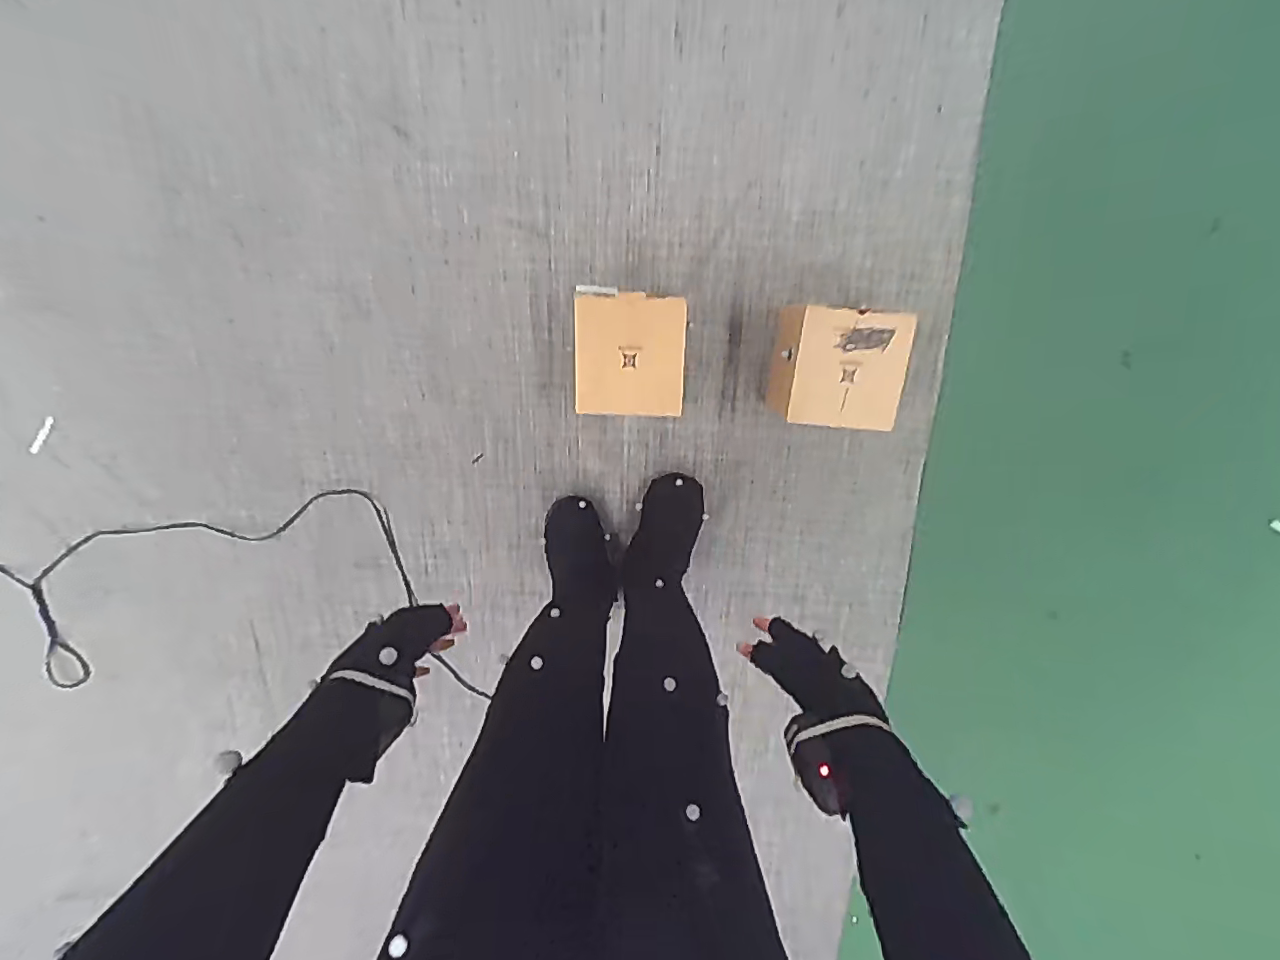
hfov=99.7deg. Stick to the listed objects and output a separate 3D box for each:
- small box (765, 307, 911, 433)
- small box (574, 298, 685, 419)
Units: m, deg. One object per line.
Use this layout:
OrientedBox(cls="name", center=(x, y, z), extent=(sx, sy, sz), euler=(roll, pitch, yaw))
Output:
OrientedBox(cls="small box", center=(0.311, -0.184, 0.890), extent=(0.168, 0.176, 0.179), euler=(5, 106, 0))
OrientedBox(cls="small box", center=(-0.015, -0.203, 0.892), extent=(0.168, 0.176, 0.179), euler=(1, 105, 1))
